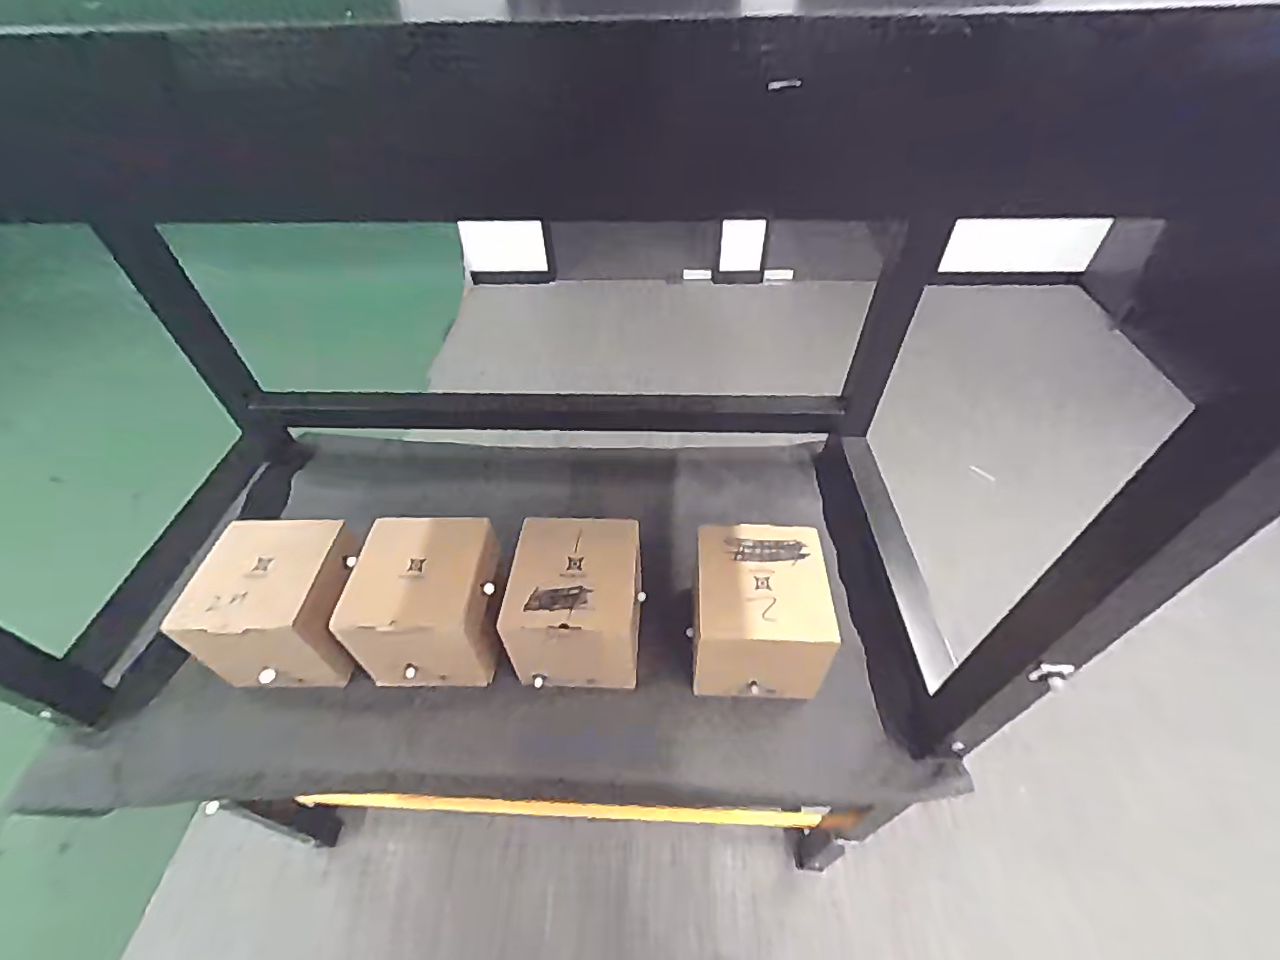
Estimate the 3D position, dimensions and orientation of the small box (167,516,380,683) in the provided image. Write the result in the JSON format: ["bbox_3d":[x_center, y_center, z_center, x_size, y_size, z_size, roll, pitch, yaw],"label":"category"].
[{"bbox_3d":[-0.500,0.171,0.778,0.168,0.176,0.179,-1,46,1],"label":"small box"}]
